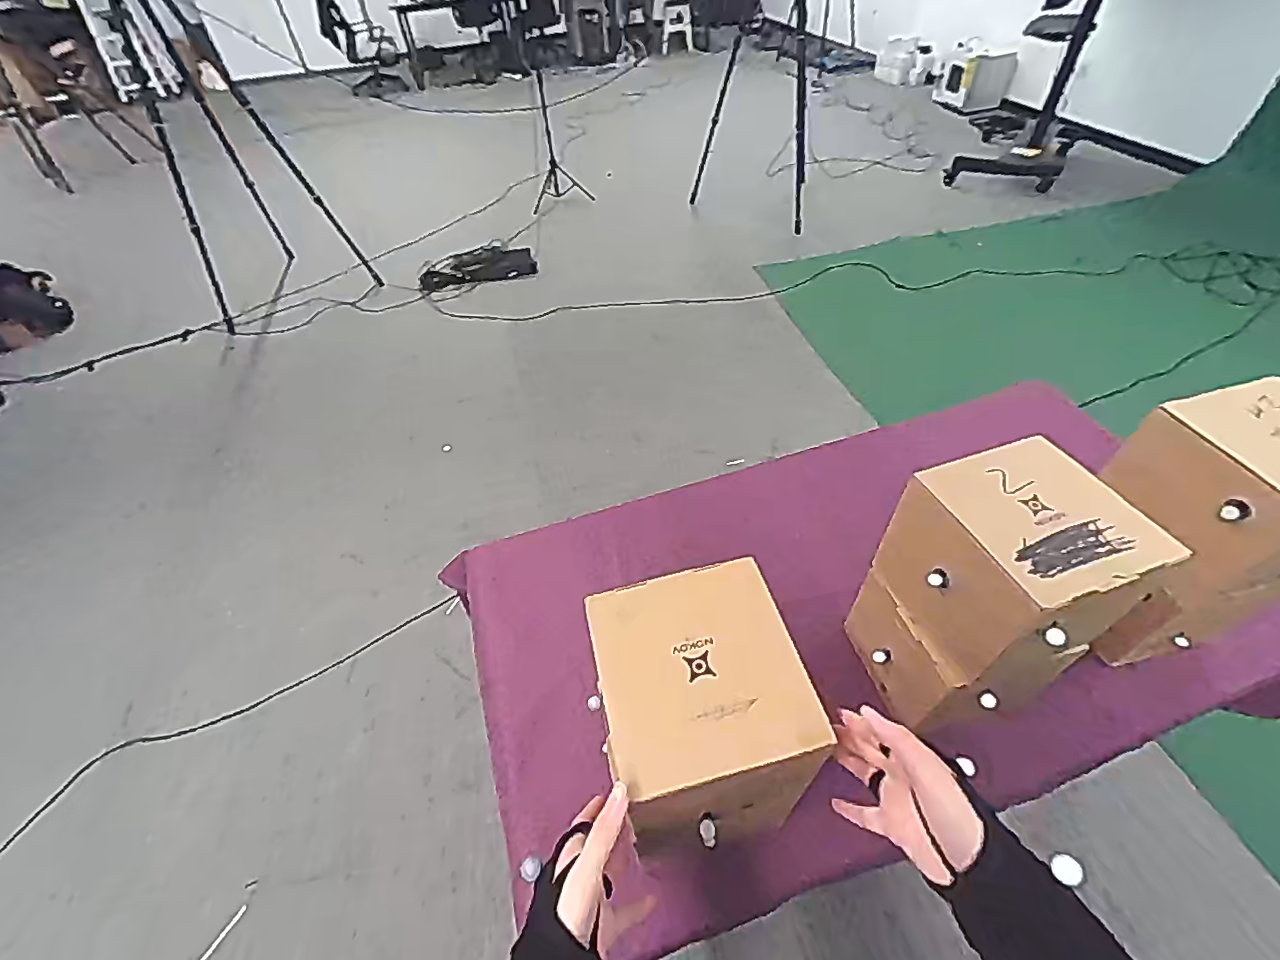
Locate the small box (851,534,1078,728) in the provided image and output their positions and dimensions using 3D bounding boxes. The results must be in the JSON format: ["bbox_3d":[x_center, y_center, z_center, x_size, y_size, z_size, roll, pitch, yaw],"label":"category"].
[{"bbox_3d":[0.398,0.201,0.708,0.179,0.176,0.168,-13,48,-6],"label":"small box"}]

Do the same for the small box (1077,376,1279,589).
[{"bbox_3d":[0.686,0.010,0.635,0.168,0.176,0.179,-13,48,-8],"label":"small box"}]

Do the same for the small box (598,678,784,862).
[{"bbox_3d":[0.060,0.317,0.630,0.179,0.176,0.168,-13,48,-8],"label":"small box"}]

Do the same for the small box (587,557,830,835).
[{"bbox_3d":[0.051,0.204,0.513,0.168,0.176,0.179,-13,48,-6],"label":"small box"}]

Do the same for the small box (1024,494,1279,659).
[{"bbox_3d":[0.695,0.121,0.757,0.168,0.176,0.179,-13,48,-6],"label":"small box"}]
